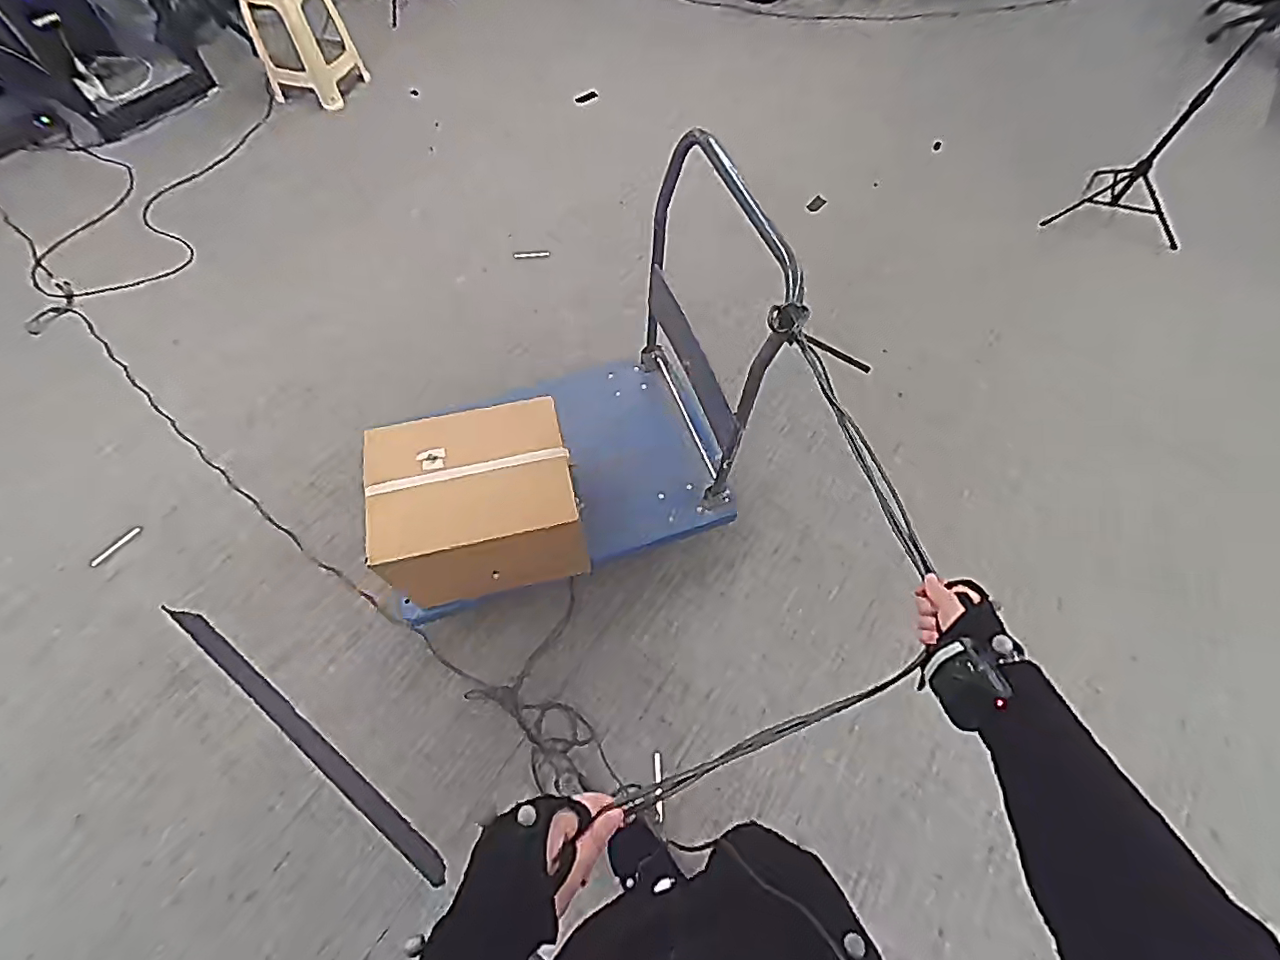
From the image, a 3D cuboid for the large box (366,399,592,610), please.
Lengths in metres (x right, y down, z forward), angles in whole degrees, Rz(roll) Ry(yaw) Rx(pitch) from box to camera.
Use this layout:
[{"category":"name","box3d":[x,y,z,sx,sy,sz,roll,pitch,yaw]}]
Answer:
[{"category":"large box","box3d":[-0.345,0.065,1.221,0.408,0.320,0.320,-13,62,-6]}]
